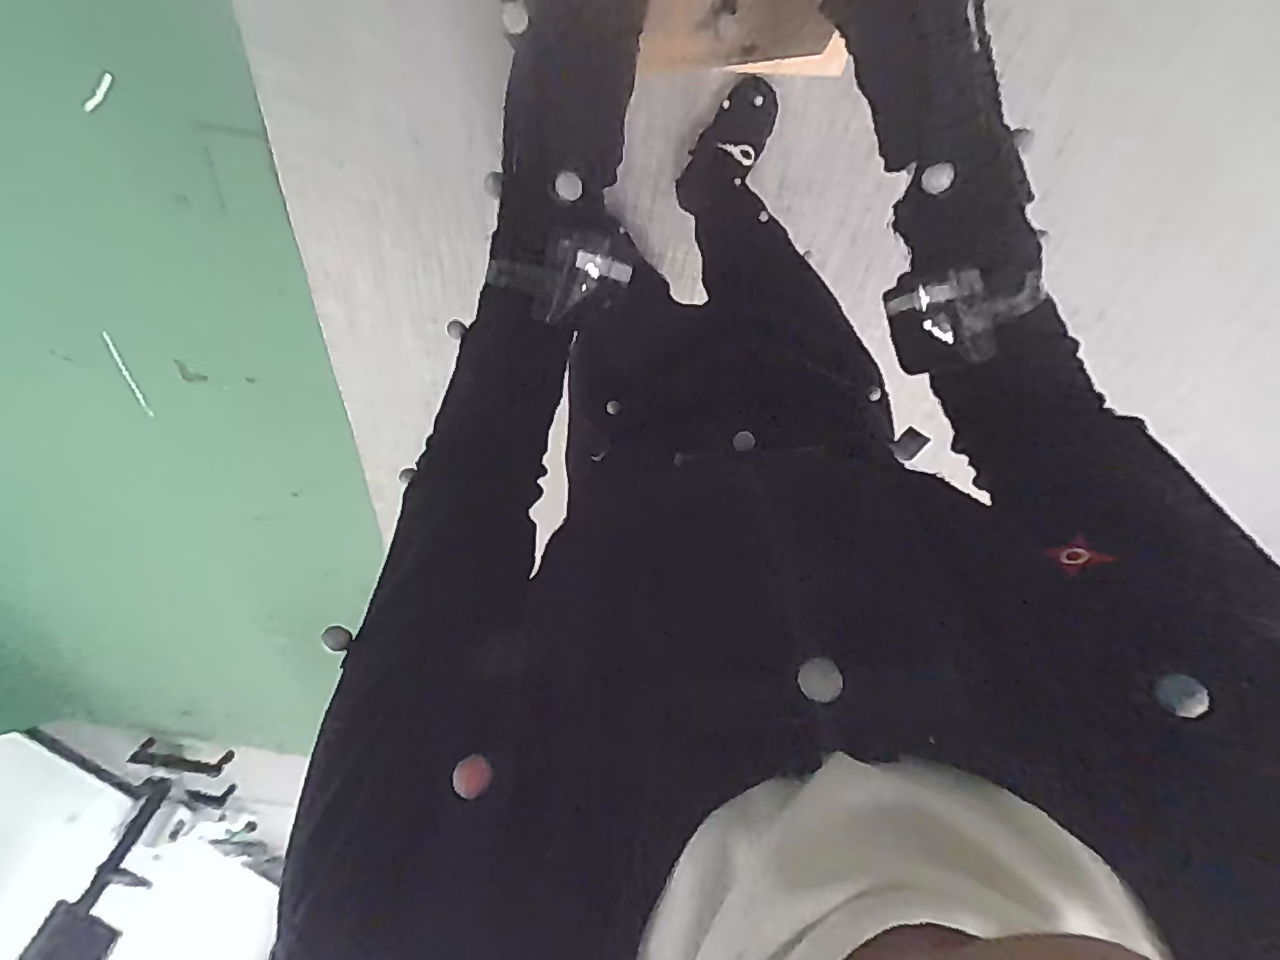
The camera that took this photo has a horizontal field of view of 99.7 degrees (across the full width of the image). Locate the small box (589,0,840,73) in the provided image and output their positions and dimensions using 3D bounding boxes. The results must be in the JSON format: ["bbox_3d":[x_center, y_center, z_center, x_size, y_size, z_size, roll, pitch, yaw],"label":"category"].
[{"bbox_3d":[0.045,-0.381,0.325,0.168,0.176,0.179,-3,104,6],"label":"small box"}]
